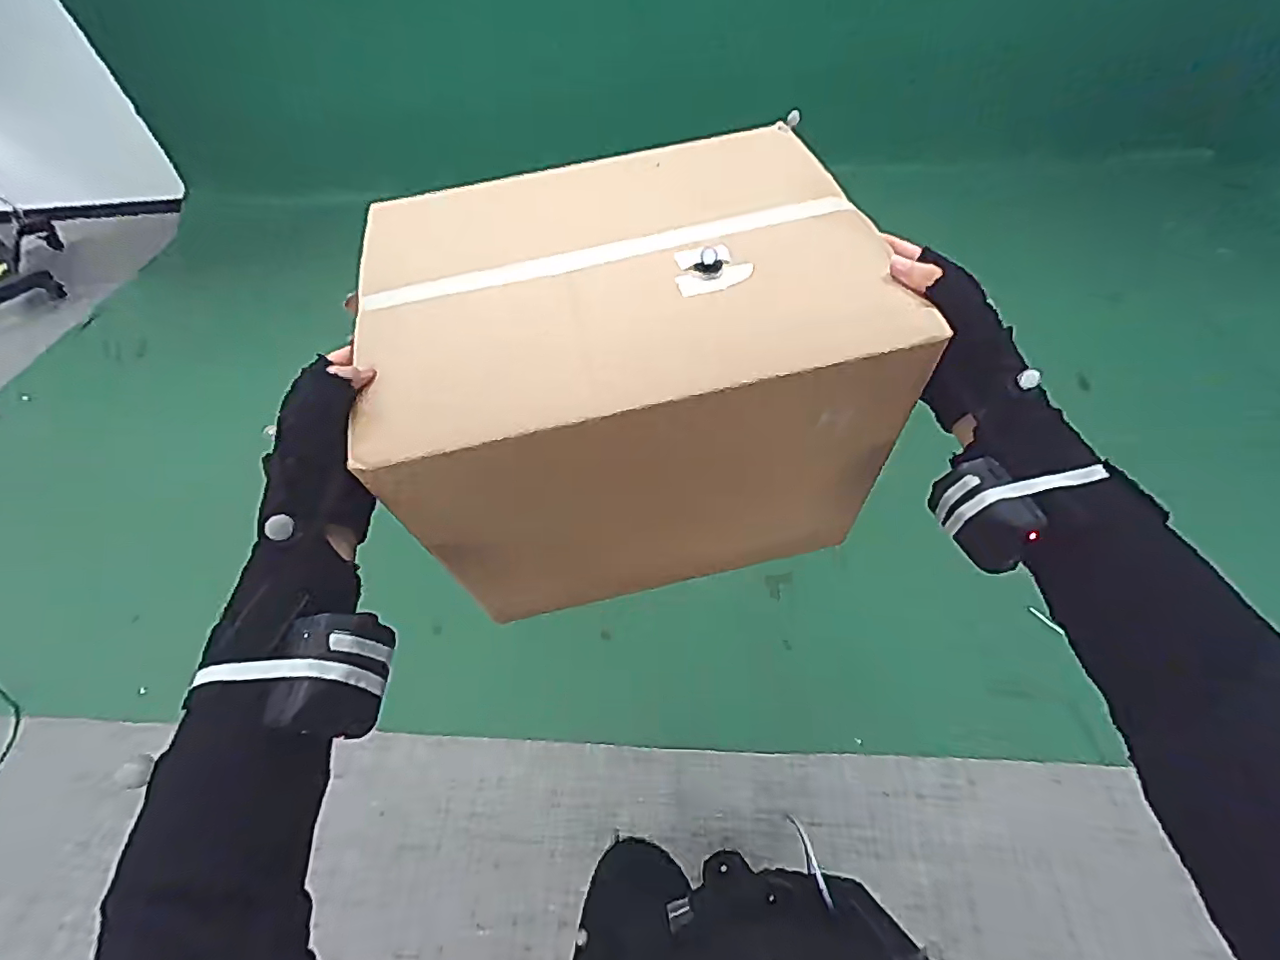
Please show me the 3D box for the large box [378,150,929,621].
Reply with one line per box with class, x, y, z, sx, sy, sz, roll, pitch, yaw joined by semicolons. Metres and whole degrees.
large box;-0.008;-0.087;0.576;0.408;0.320;0.320;-13;57;-4
